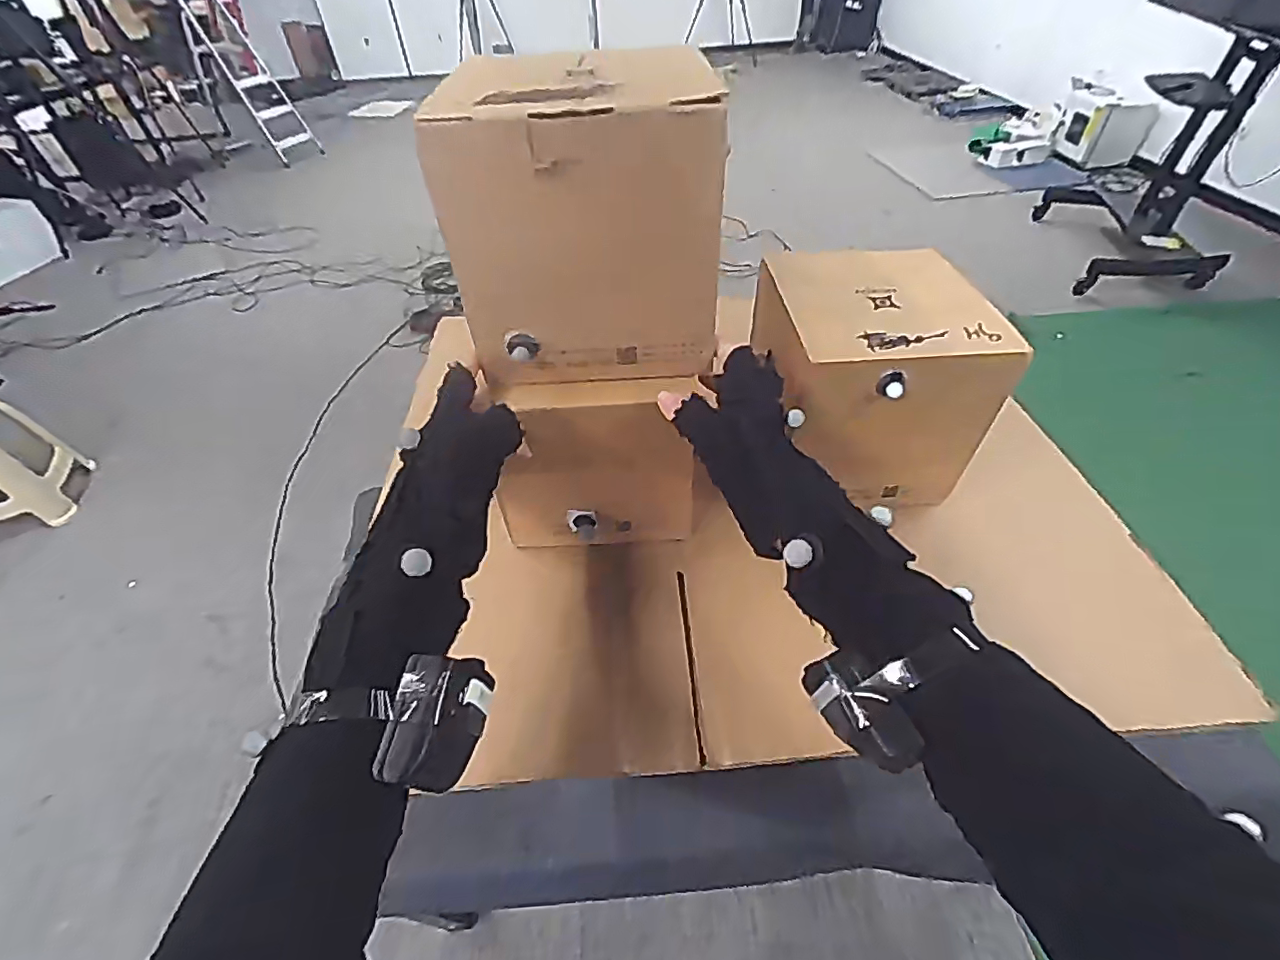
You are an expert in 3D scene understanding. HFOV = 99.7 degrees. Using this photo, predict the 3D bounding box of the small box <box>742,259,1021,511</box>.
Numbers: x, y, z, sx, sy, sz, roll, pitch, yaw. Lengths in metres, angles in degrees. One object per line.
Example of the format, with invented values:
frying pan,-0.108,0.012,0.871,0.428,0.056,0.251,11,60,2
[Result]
small box,0.198,-0.090,0.511,0.168,0.176,0.179,-3,46,-1

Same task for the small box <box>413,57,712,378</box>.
small box,-0.037,-0.187,0.399,0.168,0.176,0.179,-2,46,1

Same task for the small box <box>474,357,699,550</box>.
small box,-0.040,-0.057,0.503,0.168,0.176,0.179,-5,48,0
